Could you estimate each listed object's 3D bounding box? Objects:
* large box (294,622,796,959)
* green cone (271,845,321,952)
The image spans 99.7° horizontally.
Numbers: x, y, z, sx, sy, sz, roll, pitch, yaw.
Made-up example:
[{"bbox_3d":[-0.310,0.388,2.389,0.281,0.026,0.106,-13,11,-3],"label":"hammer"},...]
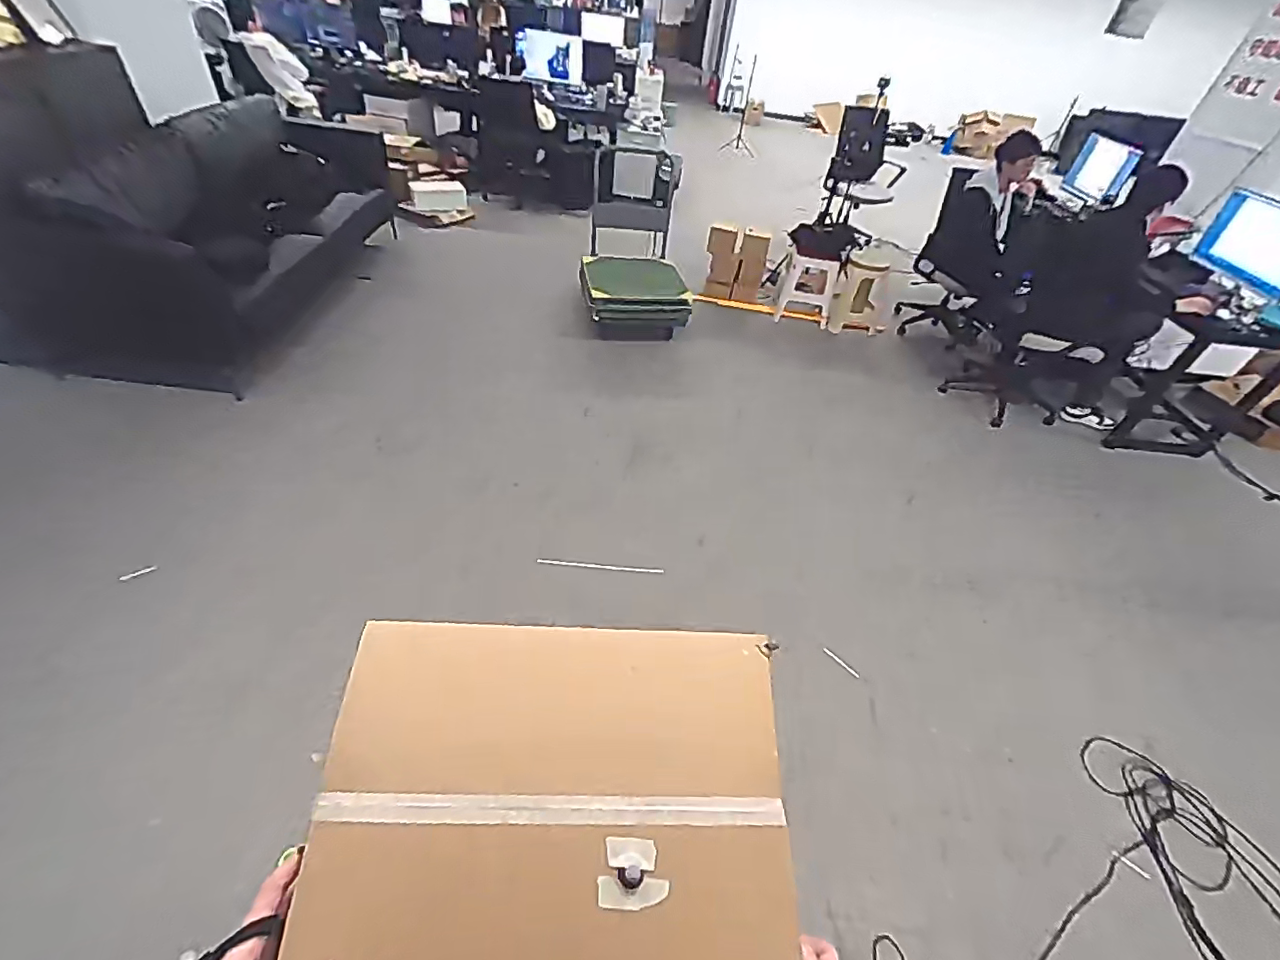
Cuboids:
[{"bbox_3d":[-0.084,0.359,0.613,0.408,0.320,0.320,3,61,-4],"label":"large box"},{"bbox_3d":[-0.693,0.855,1.141,0.200,0.368,0.202,10,44,2],"label":"green cone"}]
